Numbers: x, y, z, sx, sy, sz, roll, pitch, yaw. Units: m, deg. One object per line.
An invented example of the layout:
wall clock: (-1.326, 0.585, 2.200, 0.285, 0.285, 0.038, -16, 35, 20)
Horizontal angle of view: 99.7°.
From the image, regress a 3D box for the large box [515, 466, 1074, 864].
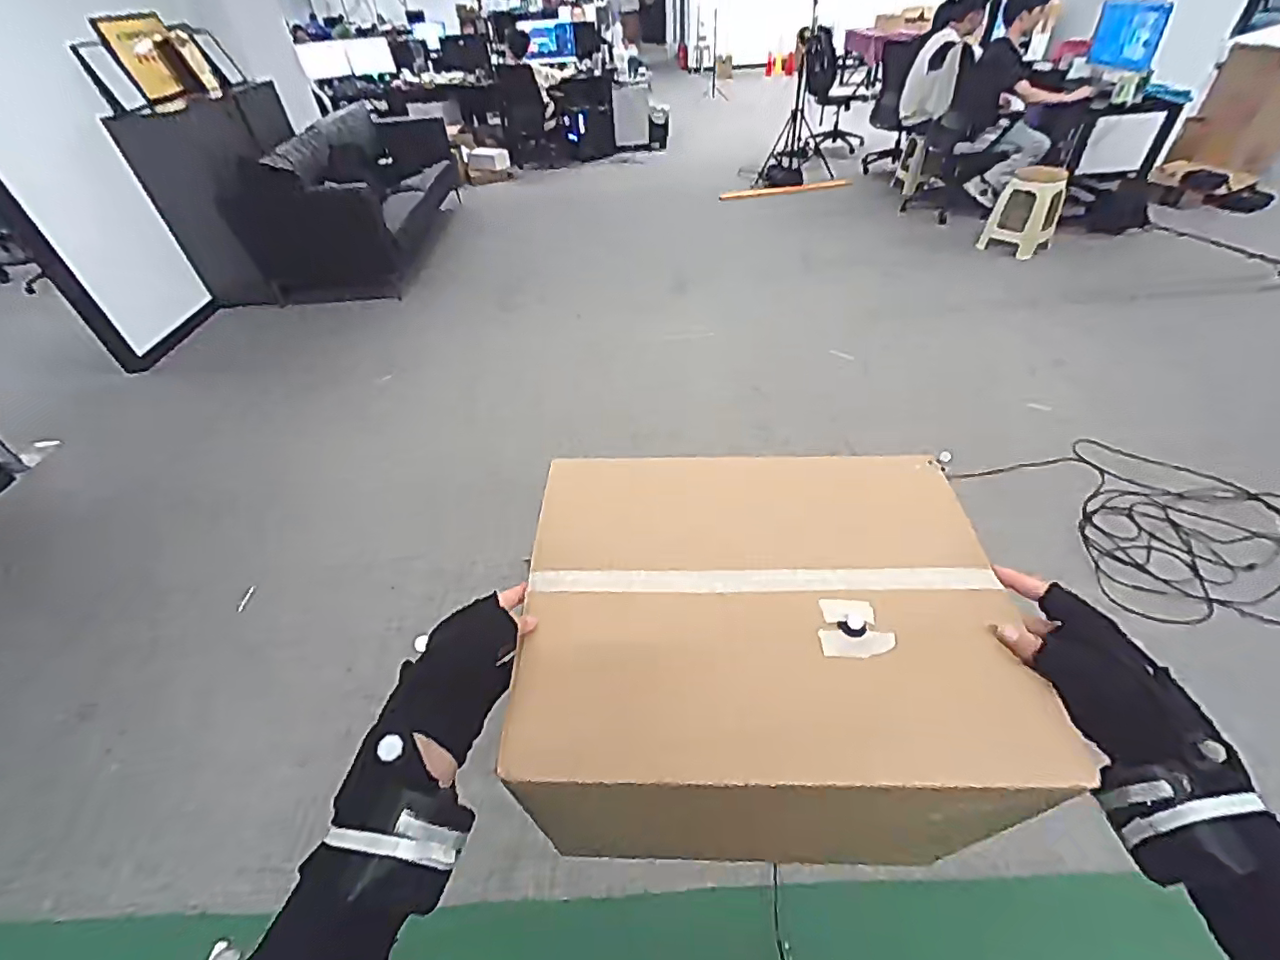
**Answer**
large box: (0.111, 0.203, 0.589, 0.408, 0.320, 0.320, -1, 47, 2)
